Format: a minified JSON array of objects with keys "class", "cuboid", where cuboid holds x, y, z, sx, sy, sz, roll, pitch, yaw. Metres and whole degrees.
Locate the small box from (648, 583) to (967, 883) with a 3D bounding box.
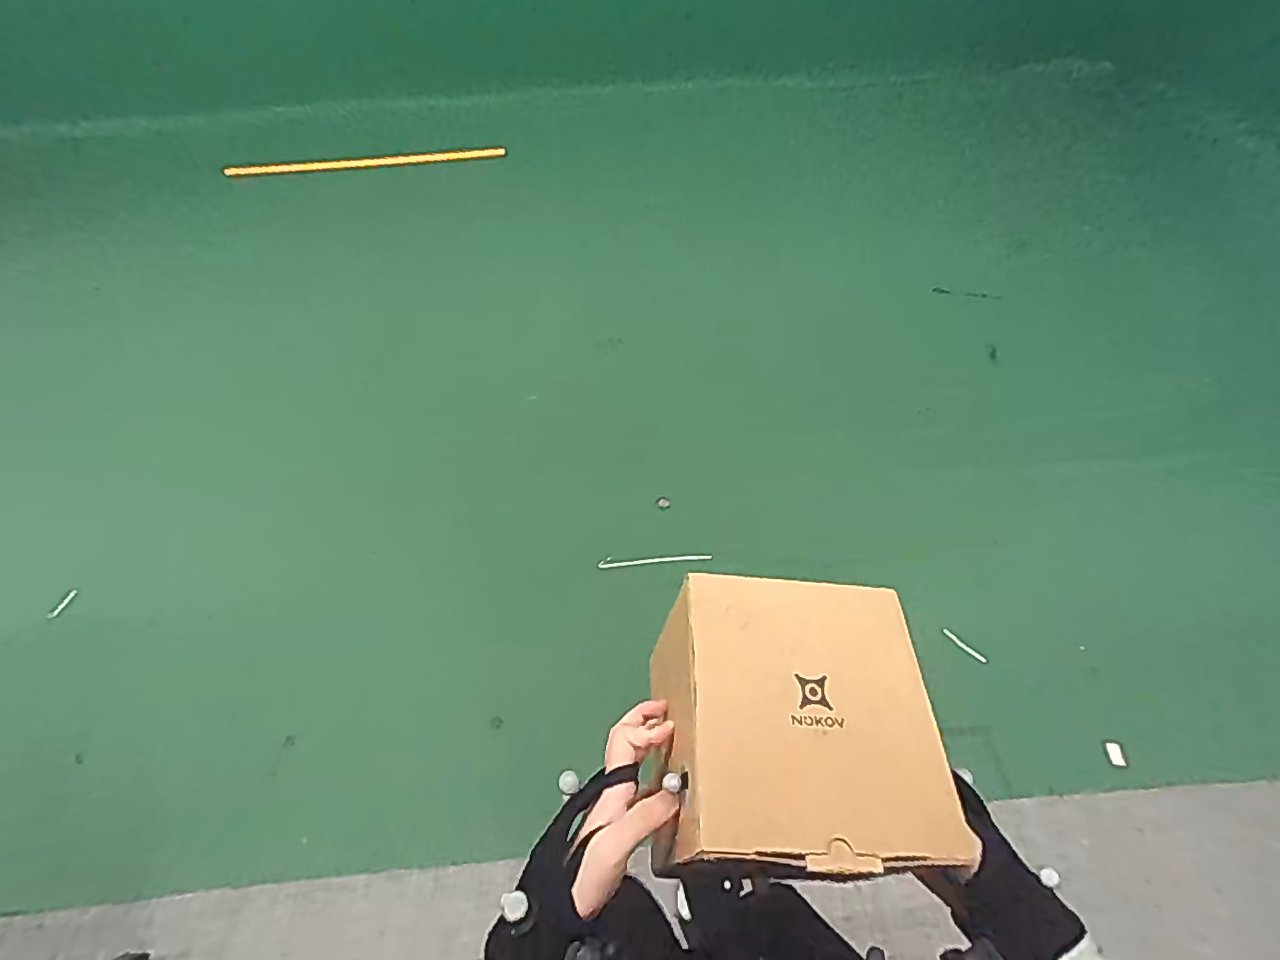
[{"class":"small box","cuboid":[0.100,0.202,0.422,0.168,0.176,0.179,5,51,-7]}]
